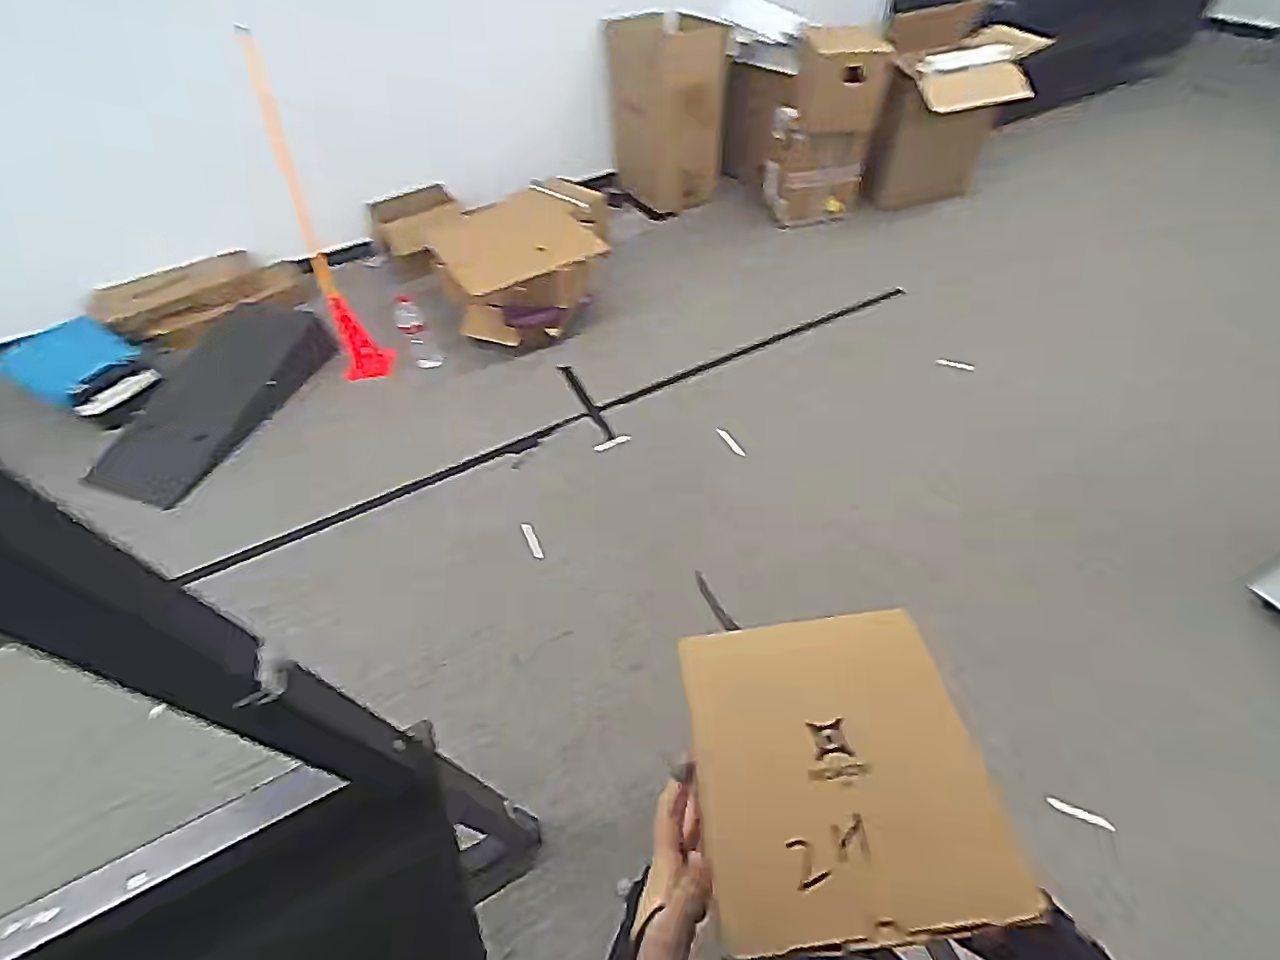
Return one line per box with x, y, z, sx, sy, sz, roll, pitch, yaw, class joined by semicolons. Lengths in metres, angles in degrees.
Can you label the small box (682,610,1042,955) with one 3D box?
0.124;0.218;0.388;0.168;0.176;0.179;-9;49;2;small box
